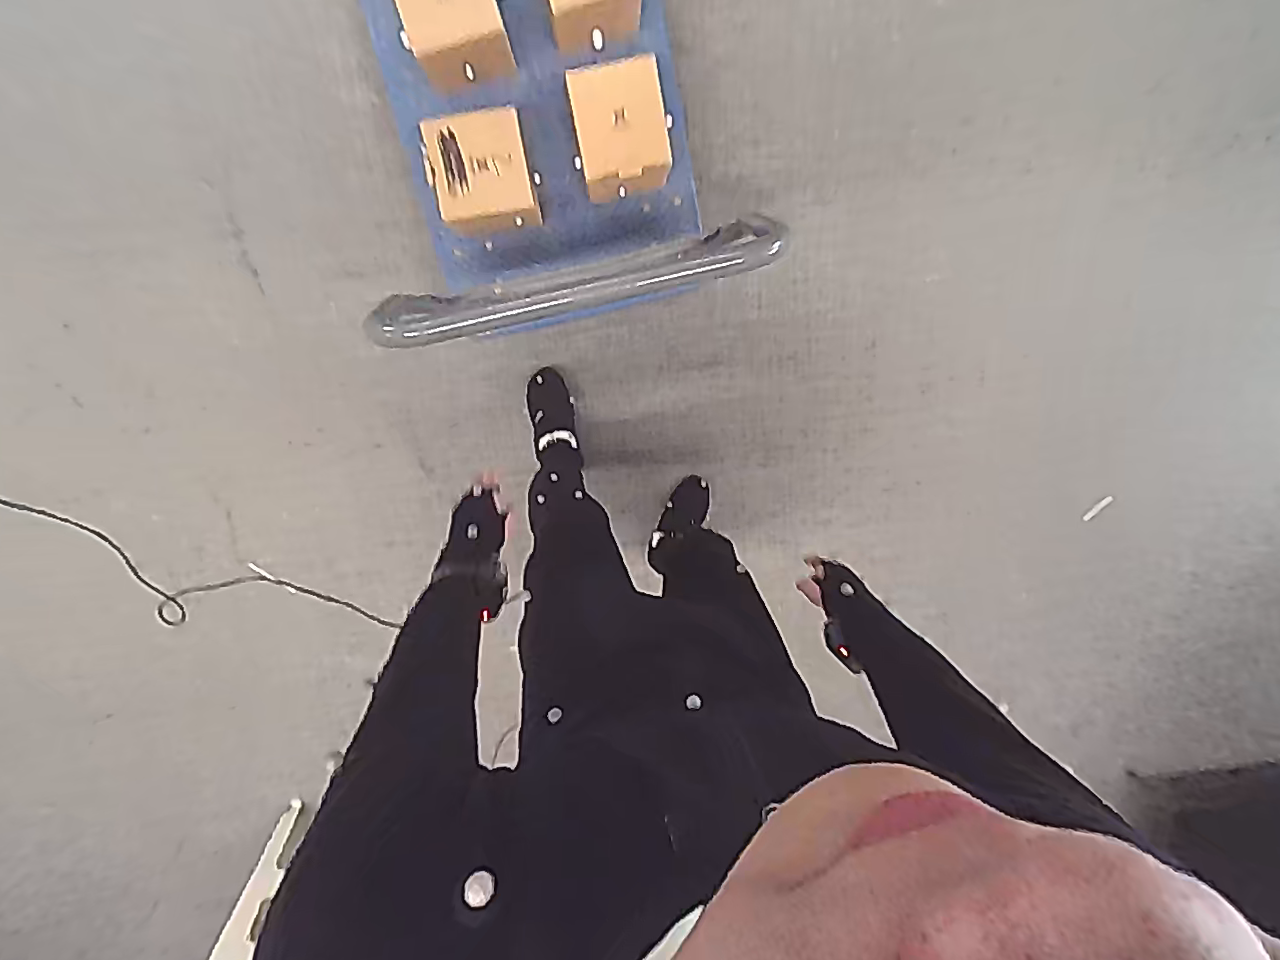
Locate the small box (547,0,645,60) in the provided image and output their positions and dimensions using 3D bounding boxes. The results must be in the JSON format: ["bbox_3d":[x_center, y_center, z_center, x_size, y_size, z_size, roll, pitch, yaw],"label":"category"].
[{"bbox_3d":[-0.094,-0.925,0.991,0.168,0.176,0.179,-16,106,2],"label":"small box"}]

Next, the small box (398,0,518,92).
[{"bbox_3d":[-0.336,-0.854,0.996,0.168,0.176,0.179,-16,105,0],"label":"small box"}]

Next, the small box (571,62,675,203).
[{"bbox_3d":[-0.035,-0.671,1.064,0.168,0.176,0.179,-12,106,0],"label":"small box"}]
